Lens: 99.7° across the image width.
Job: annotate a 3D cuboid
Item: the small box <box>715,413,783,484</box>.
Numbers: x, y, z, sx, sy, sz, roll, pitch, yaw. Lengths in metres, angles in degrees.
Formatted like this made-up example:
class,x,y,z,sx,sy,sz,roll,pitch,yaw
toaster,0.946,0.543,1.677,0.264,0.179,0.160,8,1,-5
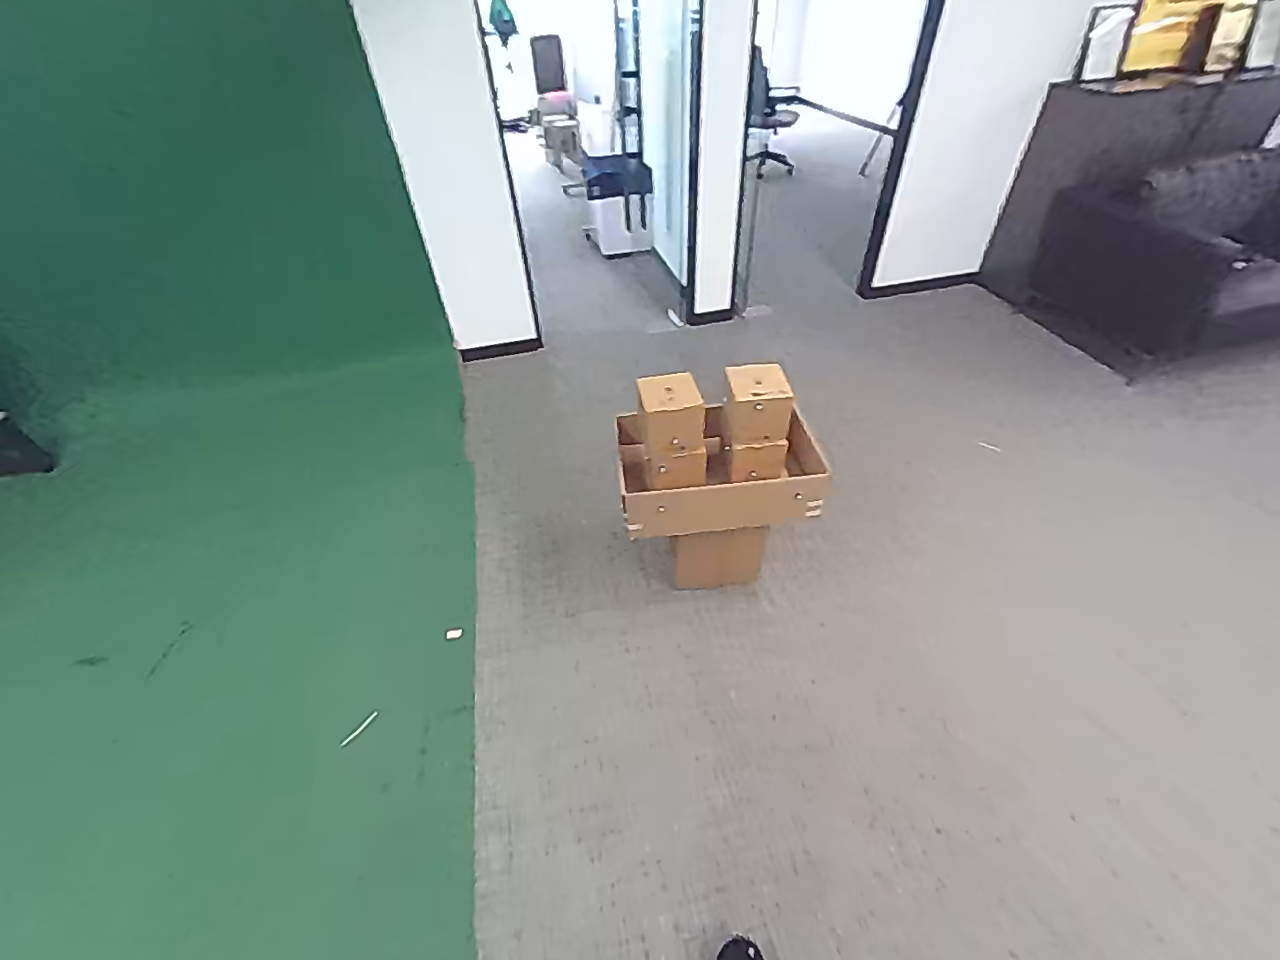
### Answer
class,x,y,z,sx,sy,sz,roll,pitch,yaw
small box,0.341,-0.110,1.729,0.168,0.176,0.179,-6,46,-4

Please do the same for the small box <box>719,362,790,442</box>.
class,x,y,z,sx,sy,sz,roll,pitch,yaw
small box,0.335,-0.233,1.619,0.168,0.176,0.179,-4,45,-2

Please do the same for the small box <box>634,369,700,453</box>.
class,x,y,z,sx,sy,sz,roll,pitch,yaw
small box,0.074,-0.202,1.594,0.168,0.176,0.179,-8,45,-6
